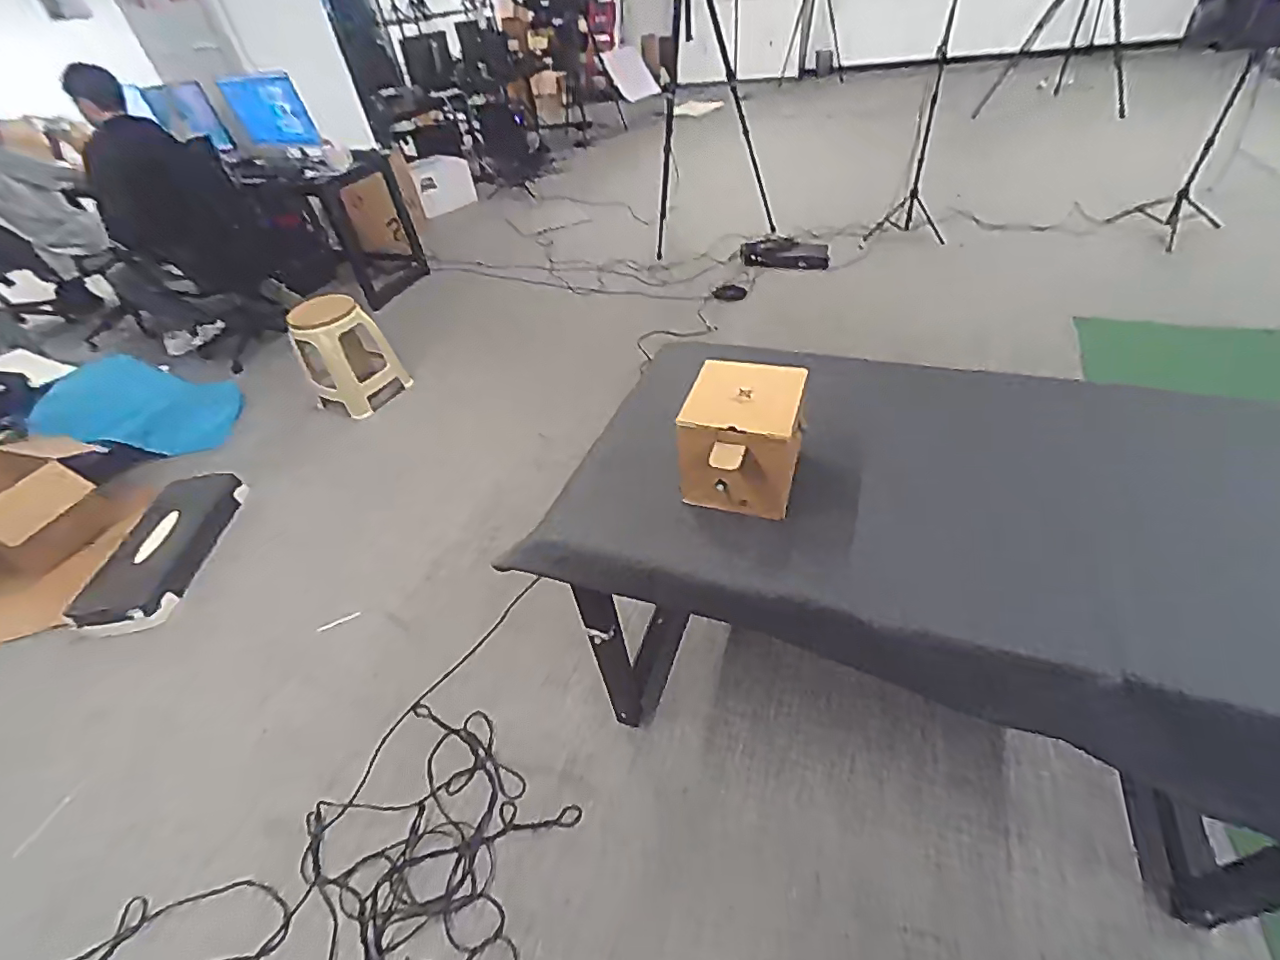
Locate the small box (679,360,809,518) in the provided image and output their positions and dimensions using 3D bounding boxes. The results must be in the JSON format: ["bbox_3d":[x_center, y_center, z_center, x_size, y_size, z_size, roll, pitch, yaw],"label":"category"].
[{"bbox_3d":[0.166,-0.068,0.867,0.168,0.176,0.179,10,46,18],"label":"small box"}]
